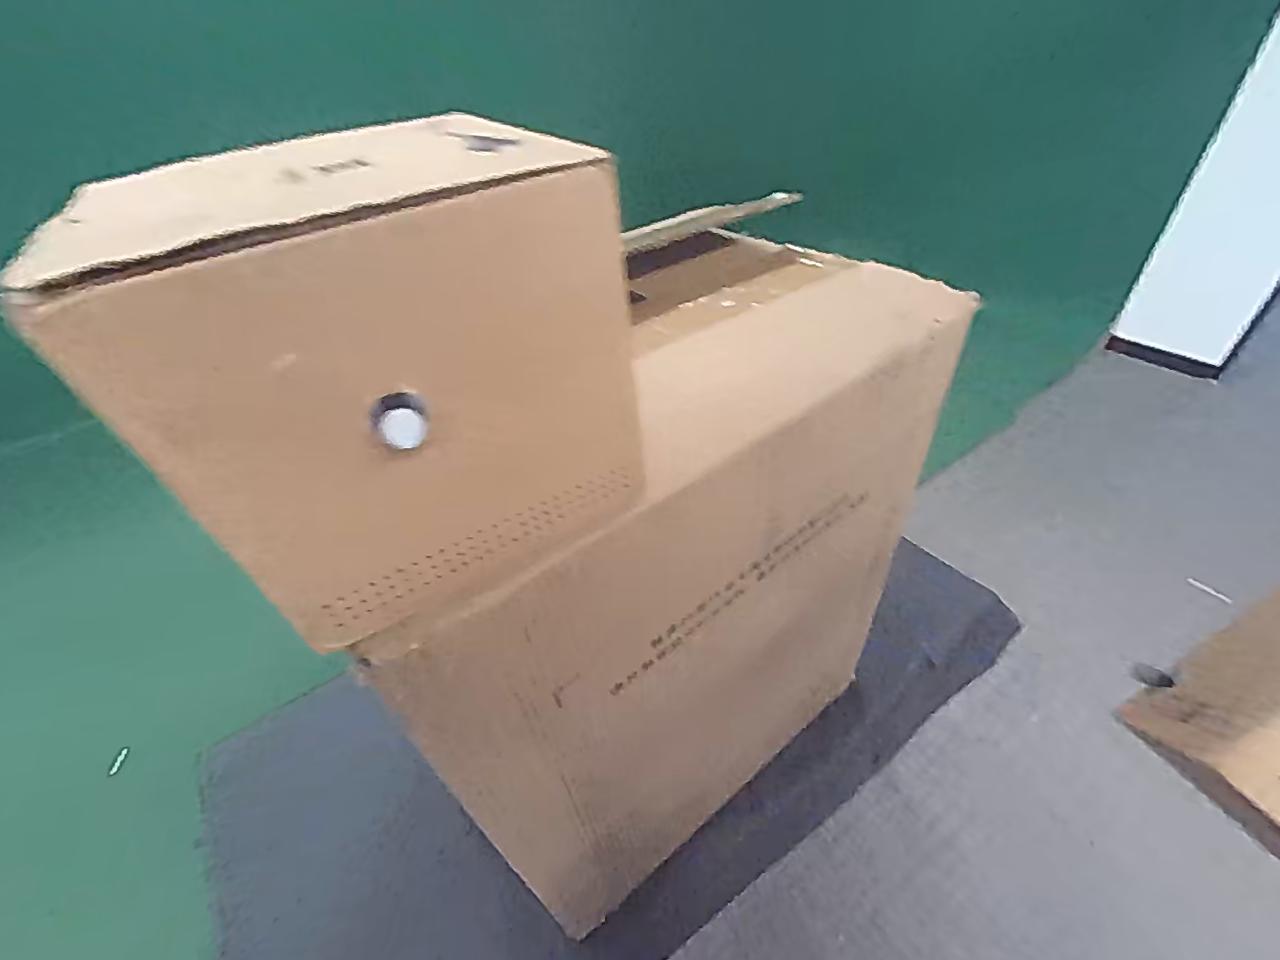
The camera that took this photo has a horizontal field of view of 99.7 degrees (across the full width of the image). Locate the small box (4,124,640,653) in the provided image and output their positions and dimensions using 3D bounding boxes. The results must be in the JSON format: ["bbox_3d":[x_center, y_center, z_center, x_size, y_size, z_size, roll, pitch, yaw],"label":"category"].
[{"bbox_3d":[-0.116,-0.052,0.264,0.179,0.176,0.168,-27,47,-21],"label":"small box"}]
